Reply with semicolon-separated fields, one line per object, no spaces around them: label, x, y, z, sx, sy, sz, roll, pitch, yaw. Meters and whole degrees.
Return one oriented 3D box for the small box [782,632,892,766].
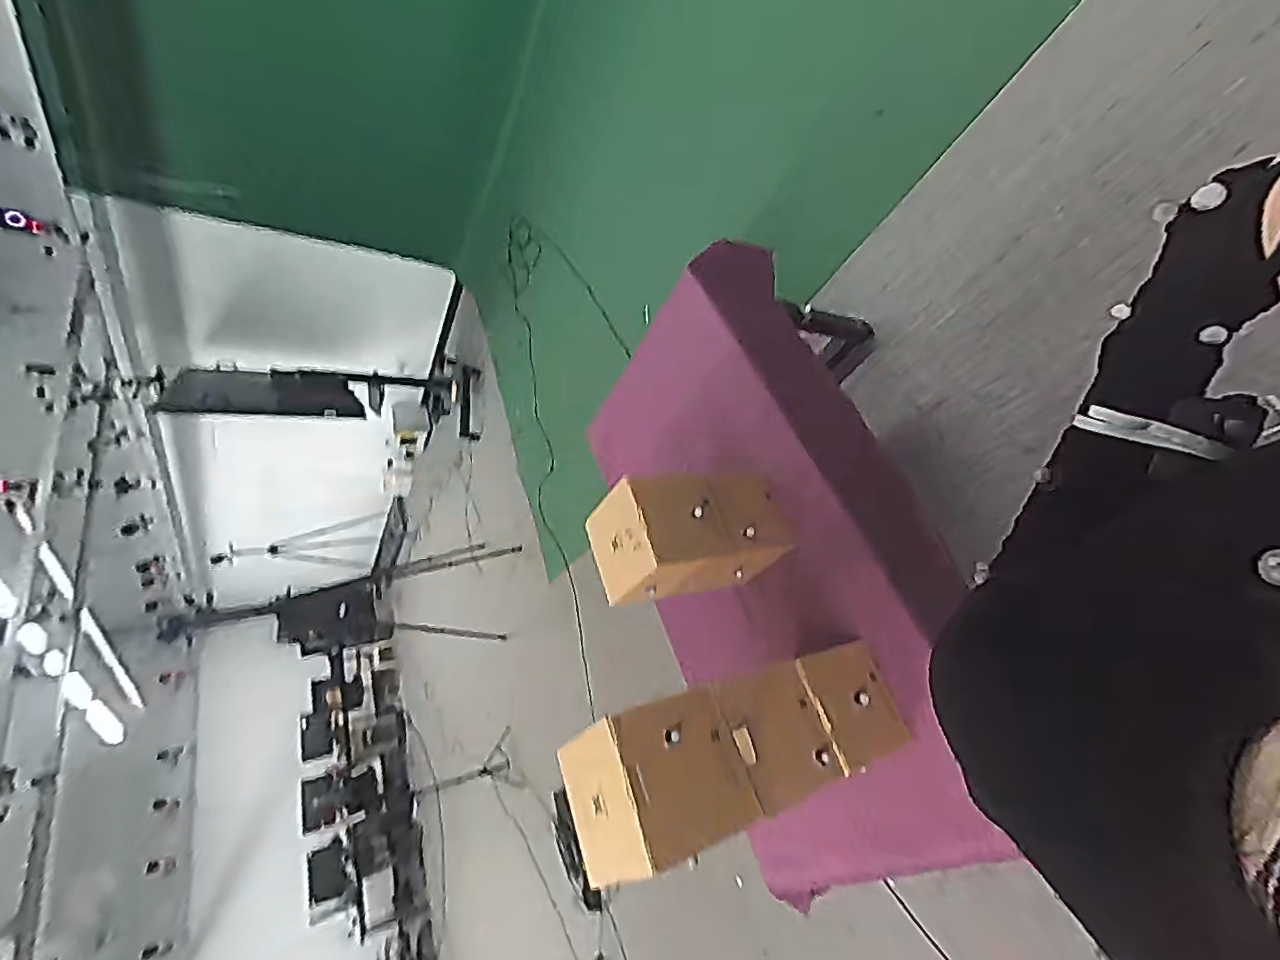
small box;0.286;0.369;0.901;0.179;0.176;0.168;-49;53;43

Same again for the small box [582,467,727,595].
small box;0.023;0.090;0.969;0.179;0.176;0.168;-47;56;45

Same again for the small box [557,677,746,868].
small box;0.016;0.380;0.715;0.179;0.176;0.168;-51;51;44

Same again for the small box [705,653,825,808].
small box;0.148;0.377;0.812;0.179;0.176;0.168;-49;53;45
